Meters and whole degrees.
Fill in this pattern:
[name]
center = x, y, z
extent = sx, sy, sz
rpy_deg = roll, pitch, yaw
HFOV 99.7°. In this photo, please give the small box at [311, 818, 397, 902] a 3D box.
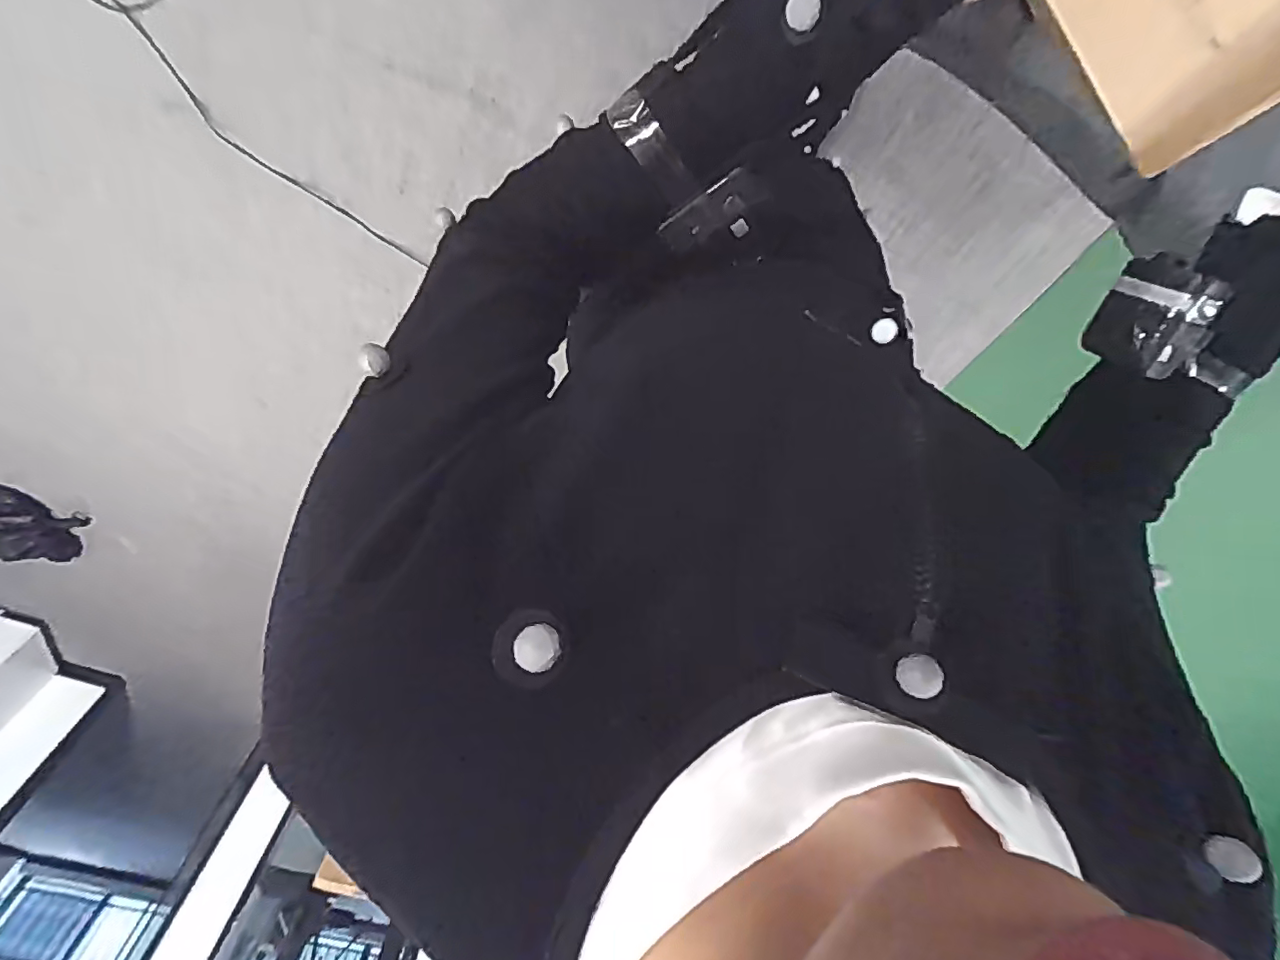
[small box]
center = -0.882, 1.178, 1.677
extent = 0.179, 0.176, 0.168
rpy_deg = 26, 130, -11
